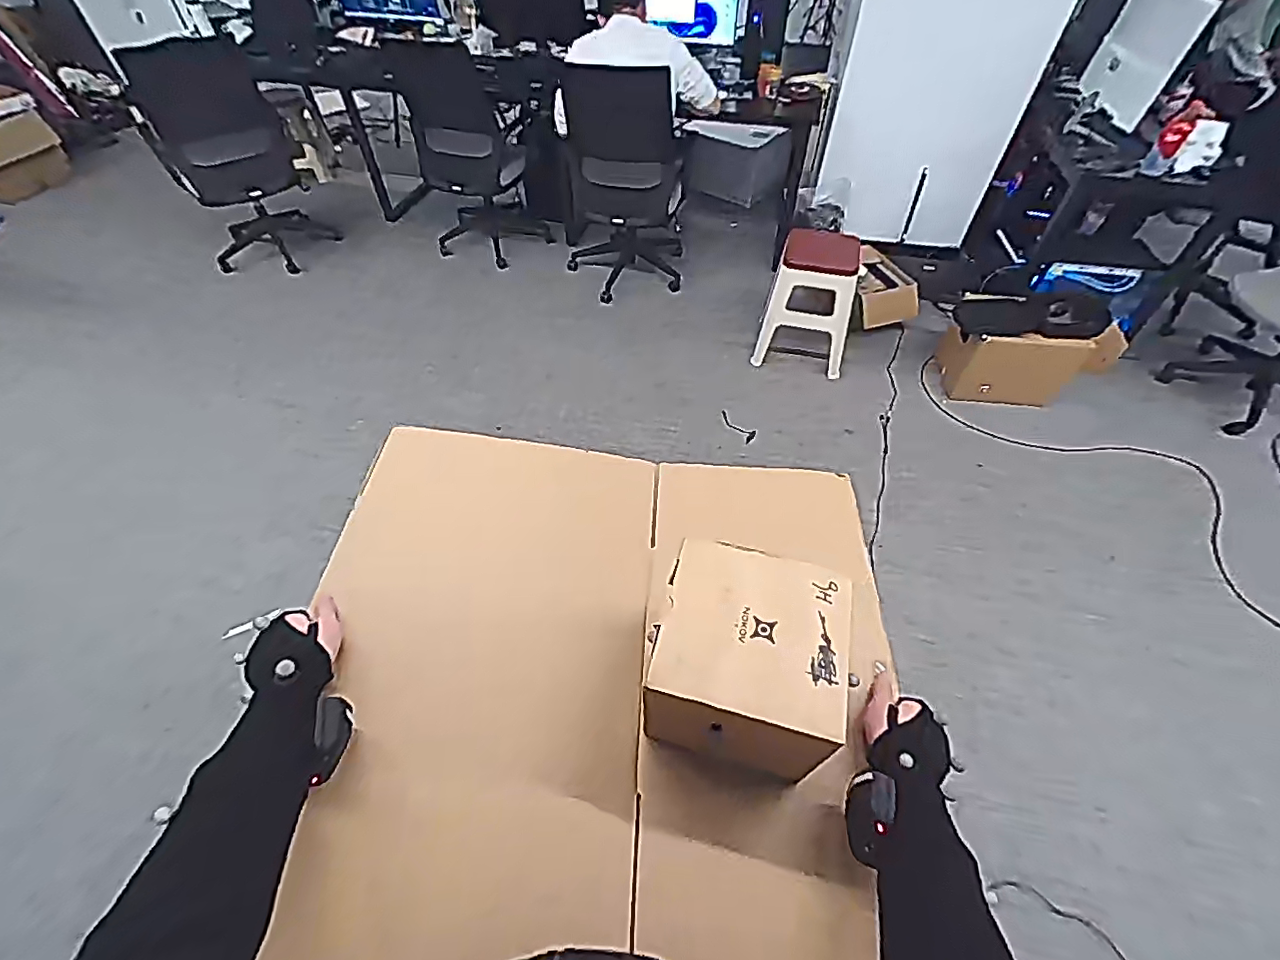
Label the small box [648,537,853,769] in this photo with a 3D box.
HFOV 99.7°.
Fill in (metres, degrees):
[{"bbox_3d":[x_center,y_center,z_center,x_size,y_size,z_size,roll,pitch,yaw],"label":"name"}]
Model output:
[{"bbox_3d":[0.114,0.188,0.579,0.179,0.176,0.168,11,53,11],"label":"small box"}]
